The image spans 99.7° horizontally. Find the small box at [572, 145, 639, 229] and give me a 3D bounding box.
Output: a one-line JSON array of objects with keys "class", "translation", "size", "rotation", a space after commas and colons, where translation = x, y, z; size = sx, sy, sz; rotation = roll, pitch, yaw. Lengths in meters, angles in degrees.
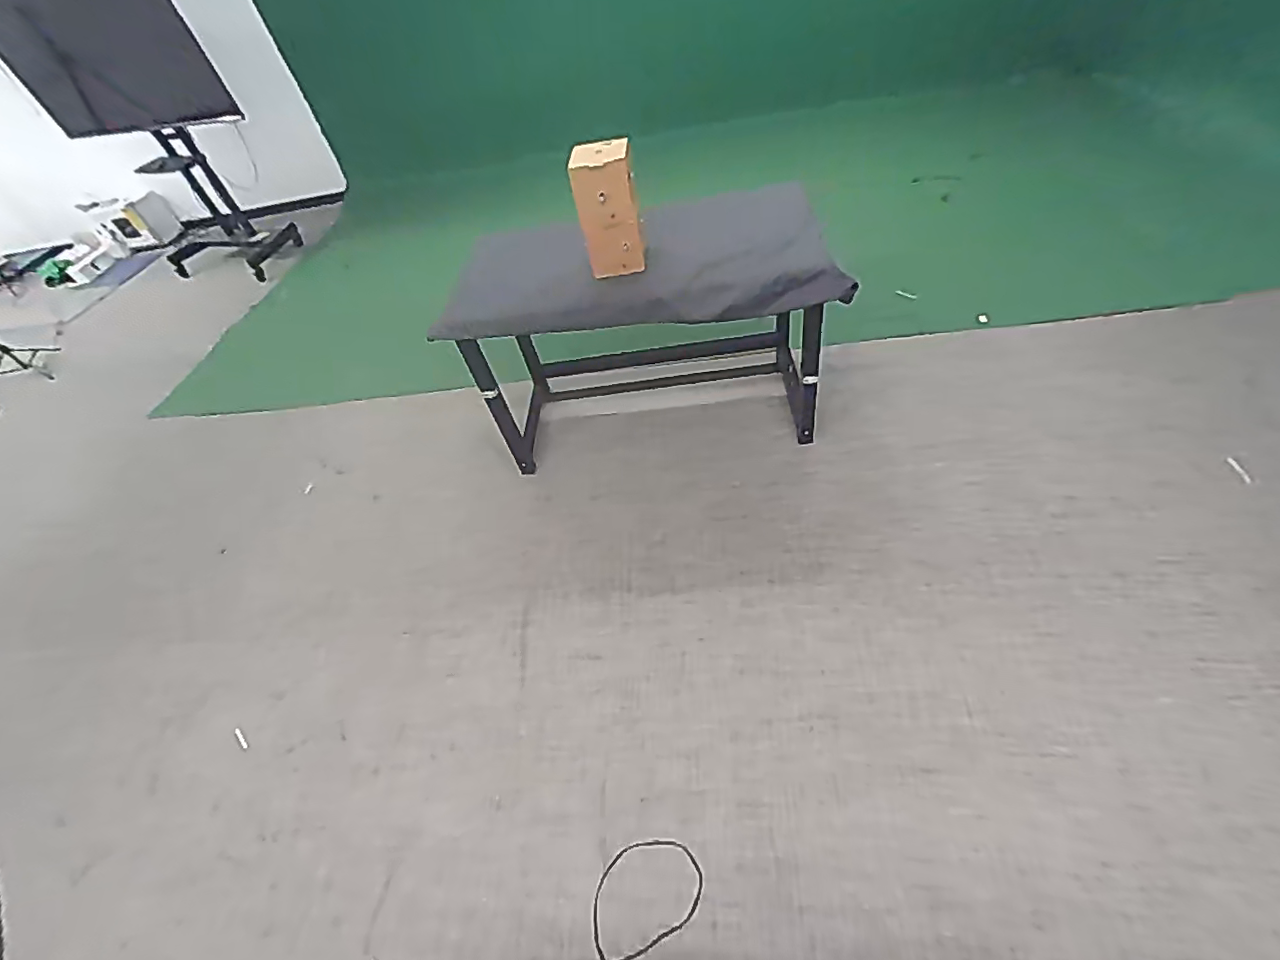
[{"class": "small box", "translation": [-0.096, -0.870, 1.619], "size": [0.168, 0.176, 0.179], "rotation": [-4, 49, 7]}]

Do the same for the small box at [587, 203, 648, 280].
[{"class": "small box", "translation": [-0.067, -0.759, 1.735], "size": [0.168, 0.176, 0.179], "rotation": [-5, 47, 7]}]
